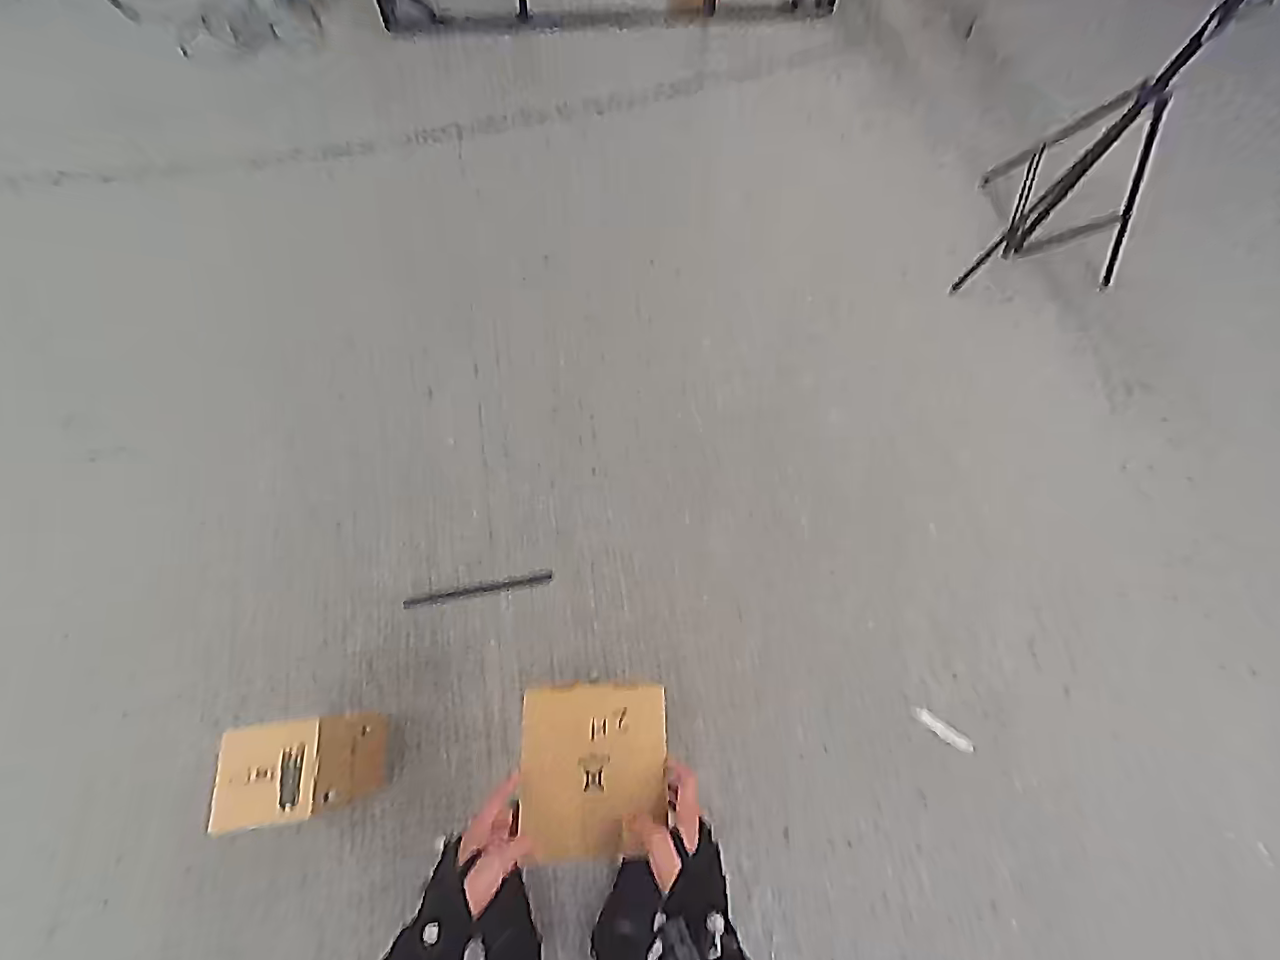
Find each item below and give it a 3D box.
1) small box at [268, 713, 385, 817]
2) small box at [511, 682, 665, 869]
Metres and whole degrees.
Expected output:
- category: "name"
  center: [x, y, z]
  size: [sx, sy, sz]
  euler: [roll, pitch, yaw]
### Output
- category: "small box"
  center: [-0.680, 0.618, 1.194]
  size: [0.168, 0.176, 0.179]
  euler: [-6, 67, -6]
- category: "small box"
  center: [-0.062, 0.349, 0.671]
  size: [0.168, 0.176, 0.179]
  euler: [1, 71, -6]
